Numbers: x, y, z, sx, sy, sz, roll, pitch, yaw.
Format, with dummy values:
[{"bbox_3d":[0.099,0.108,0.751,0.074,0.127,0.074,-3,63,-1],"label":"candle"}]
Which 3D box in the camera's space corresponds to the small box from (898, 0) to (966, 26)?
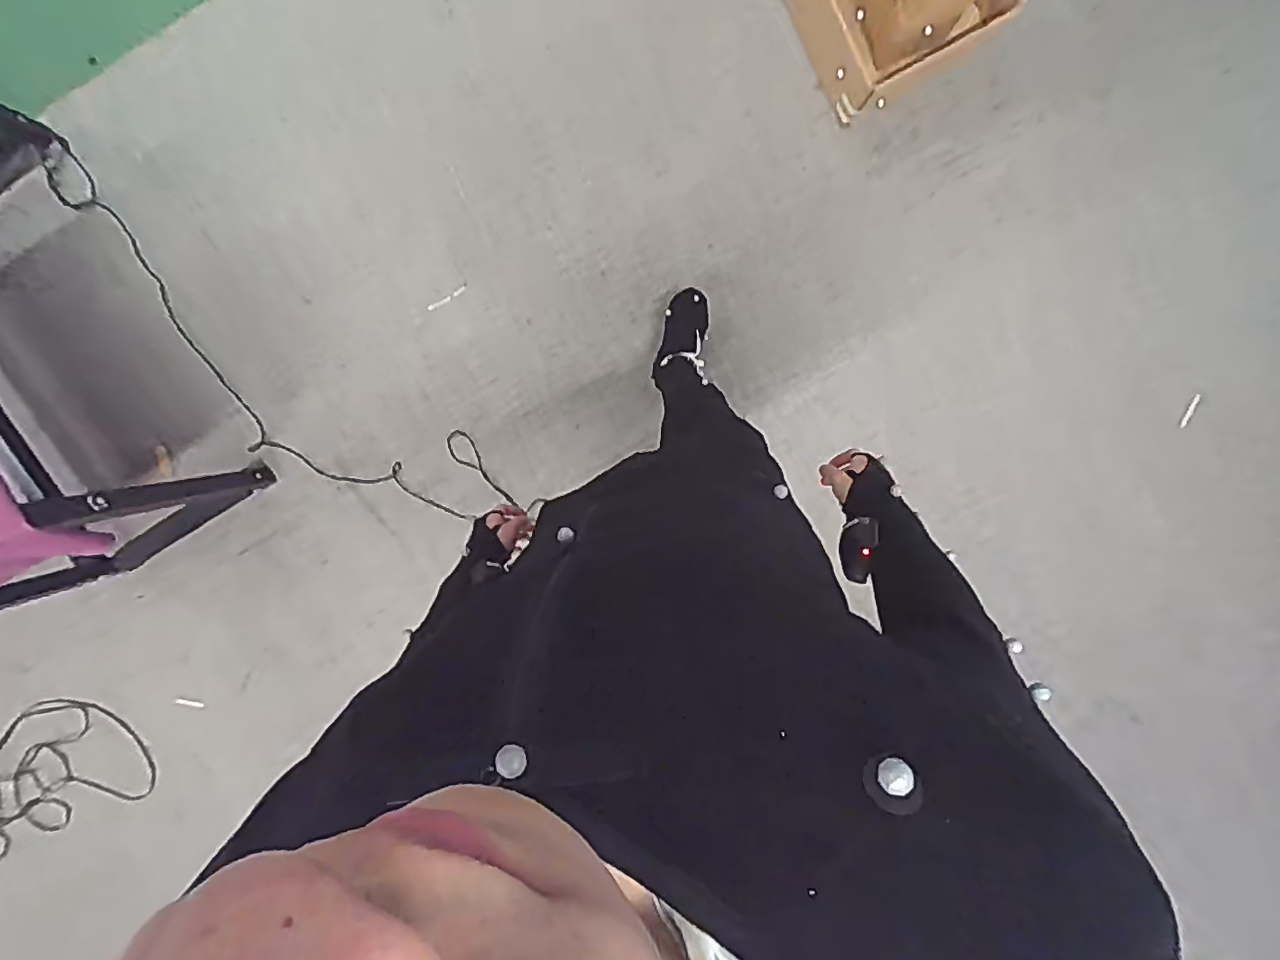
[{"bbox_3d":[0.653,-1.119,1.130,0.179,0.176,0.168,-23,97,6],"label":"small box"}]
